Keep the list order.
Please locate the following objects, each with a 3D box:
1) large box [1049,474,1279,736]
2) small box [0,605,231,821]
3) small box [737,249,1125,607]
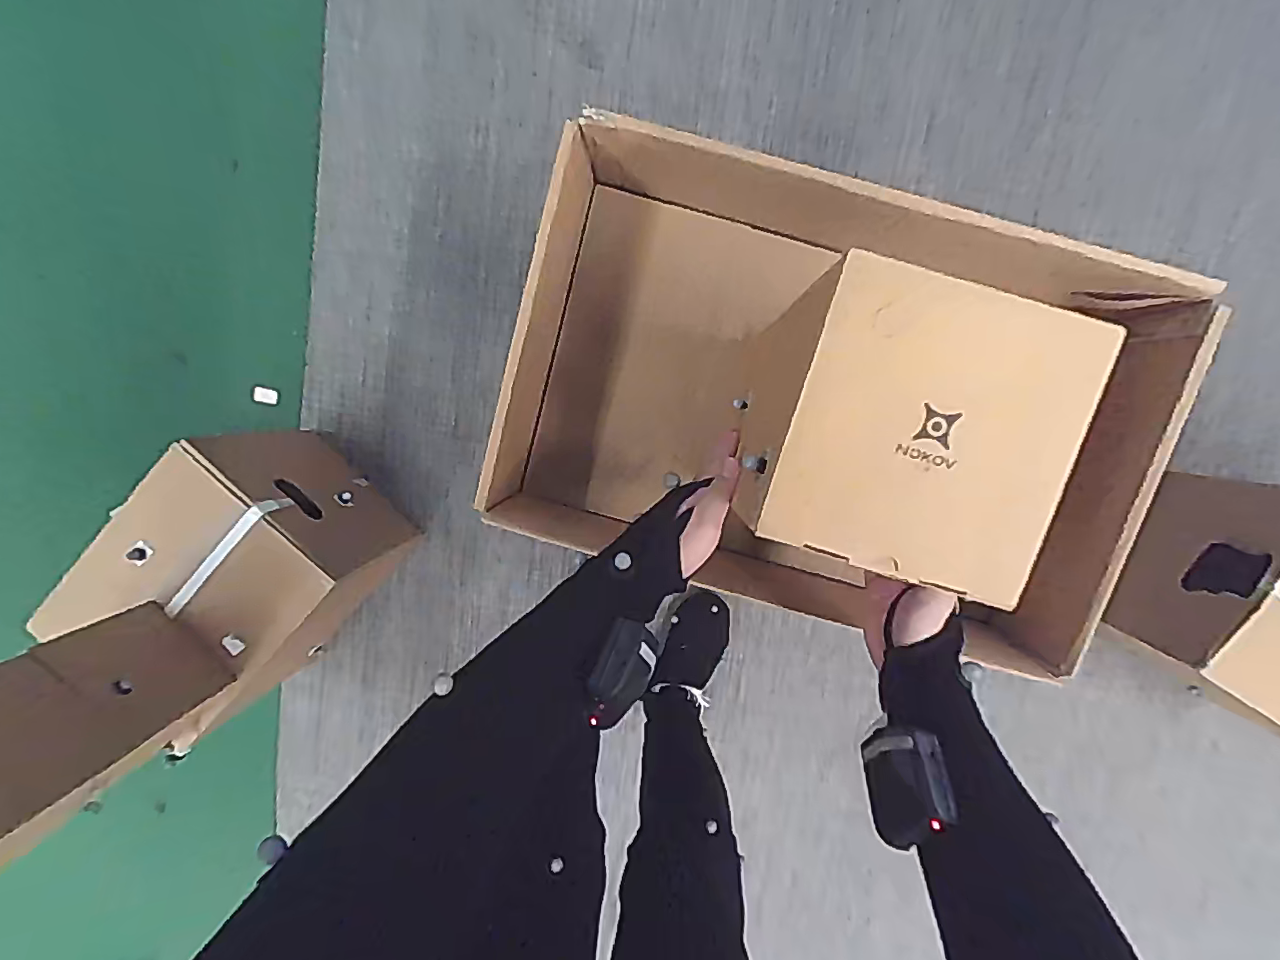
[{"bbox_3d":[1.051,0.233,0.919,0.408,0.320,0.320,32,97,-1],"label":"large box"},{"bbox_3d":[-0.727,0.303,0.741,0.168,0.176,0.179,-42,94,6],"label":"small box"},{"bbox_3d":[0.179,-0.036,0.397,0.168,0.176,0.179,17,97,0],"label":"small box"}]
